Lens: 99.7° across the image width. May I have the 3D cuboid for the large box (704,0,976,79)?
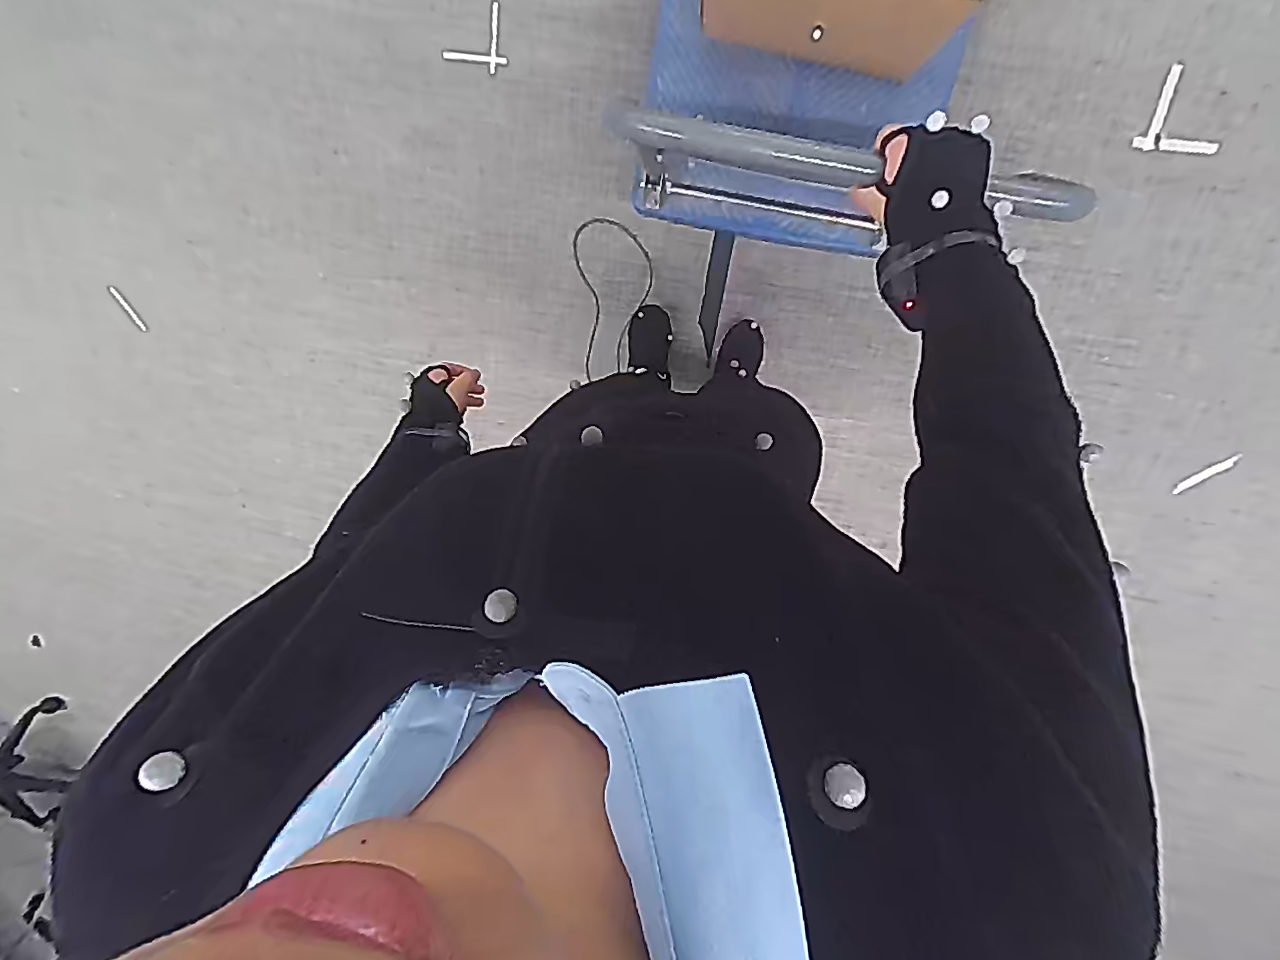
[{"bbox_3d":[0.333,-0.907,0.868,0.408,0.320,0.320,13,108,2],"label":"large box"}]
